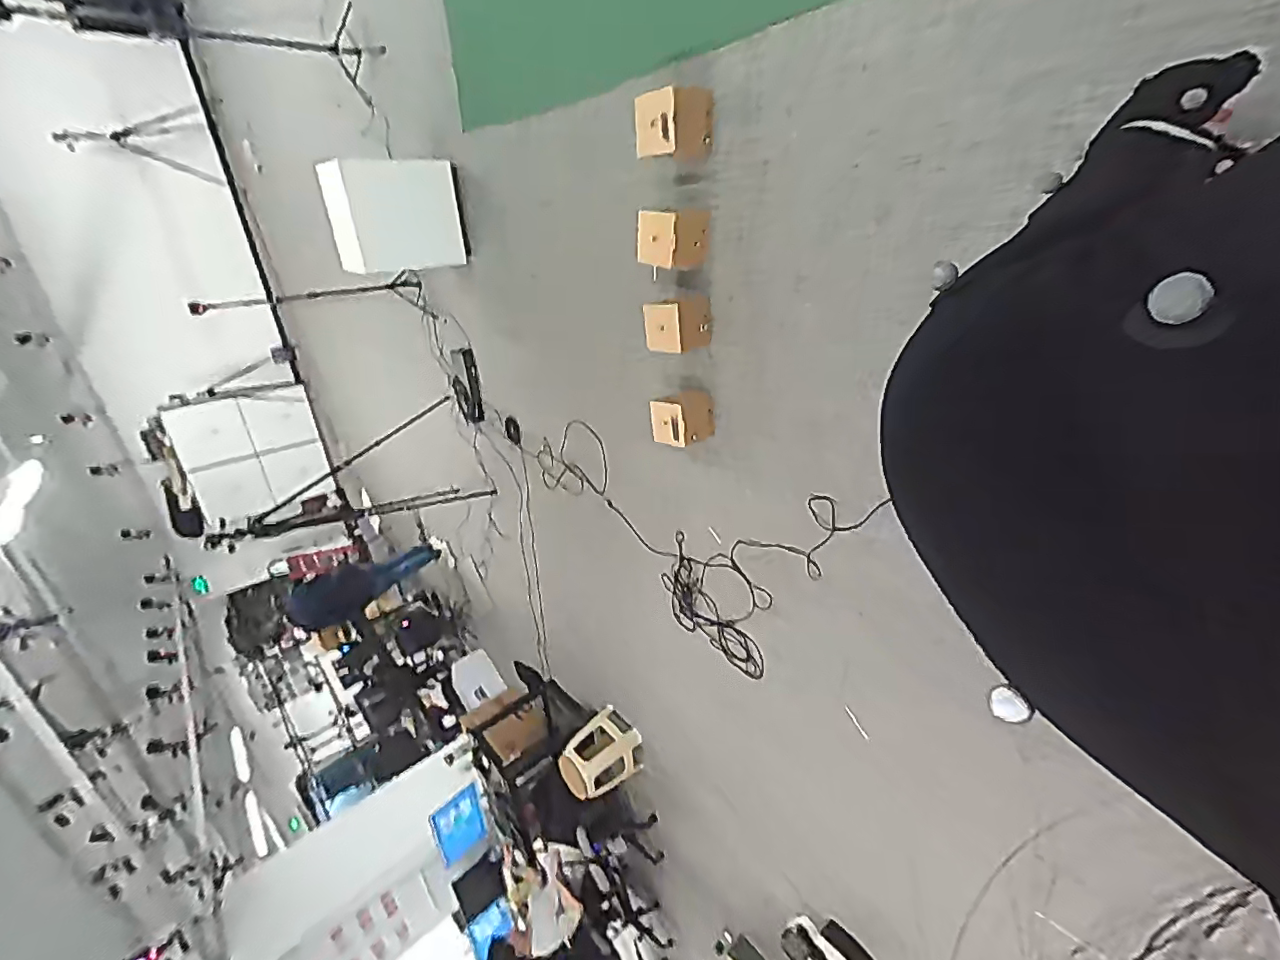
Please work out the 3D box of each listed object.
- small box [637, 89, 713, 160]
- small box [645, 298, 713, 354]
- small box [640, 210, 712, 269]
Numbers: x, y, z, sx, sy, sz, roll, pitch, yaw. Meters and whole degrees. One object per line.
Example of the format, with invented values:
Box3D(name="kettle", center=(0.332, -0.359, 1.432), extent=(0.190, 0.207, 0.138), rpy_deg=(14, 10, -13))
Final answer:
Box3D(name="small box", center=(0.113, -1.104, 1.690), extent=(0.179, 0.176, 0.168), rpy_deg=(25, 127, 44))
Box3D(name="small box", center=(0.143, -0.558, 1.947), extent=(0.179, 0.176, 0.168), rpy_deg=(18, 124, 44))
Box3D(name="small box", center=(0.119, -0.820, 1.837), extent=(0.179, 0.176, 0.168), rpy_deg=(29, 129, 40))
